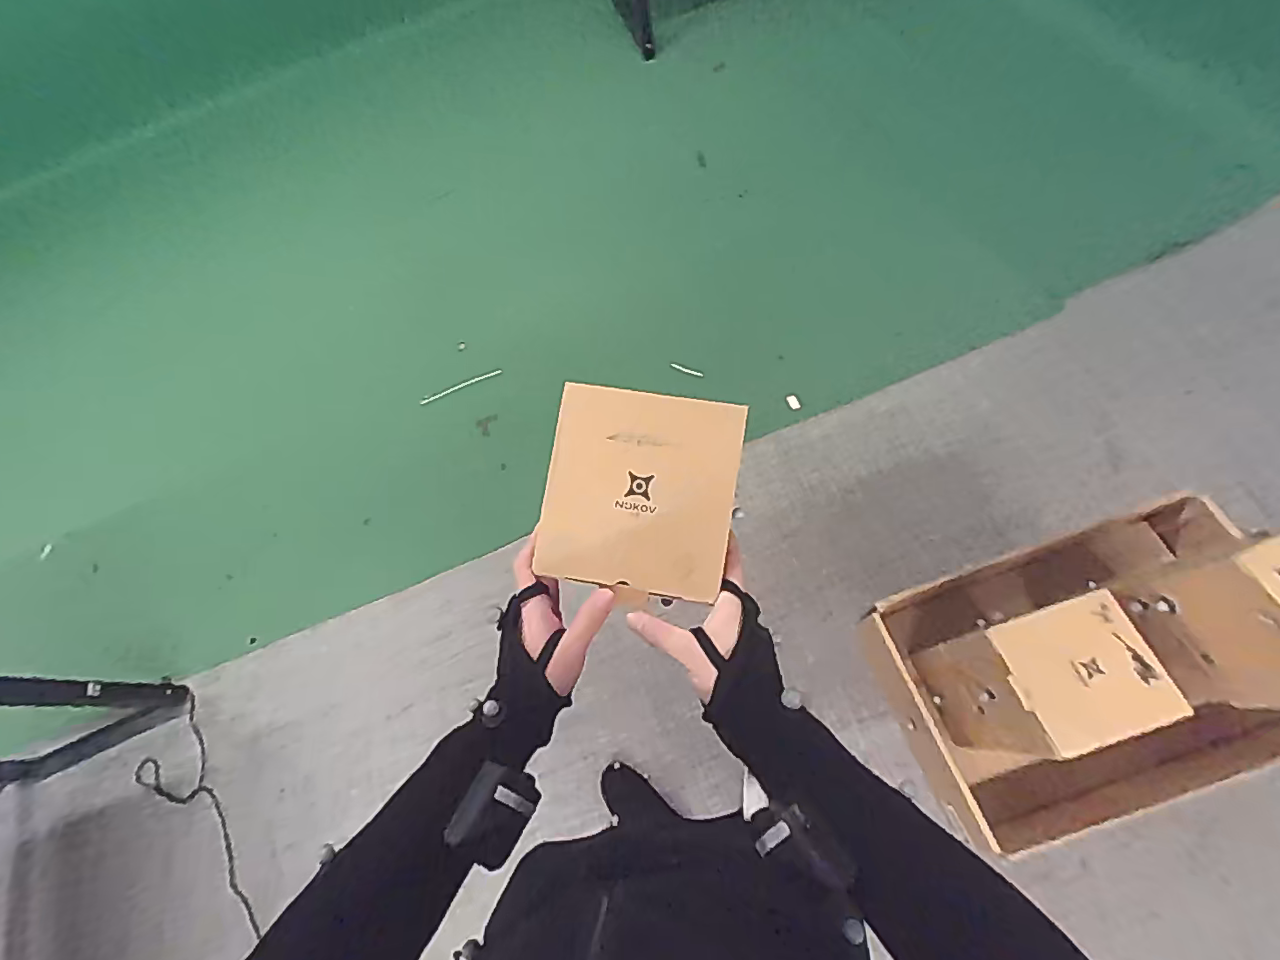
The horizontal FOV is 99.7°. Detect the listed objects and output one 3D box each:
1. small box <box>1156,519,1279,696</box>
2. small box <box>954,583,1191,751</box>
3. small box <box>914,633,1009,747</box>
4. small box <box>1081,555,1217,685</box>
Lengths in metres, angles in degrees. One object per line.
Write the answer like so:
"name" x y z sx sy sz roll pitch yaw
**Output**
"small box" 0.754 0.134 0.612 0.179 0.176 0.168 -24 65 2
"small box" 0.577 0.266 0.761 0.179 0.176 0.168 -20 65 1
"small box" 0.602 0.331 0.908 0.179 0.176 0.168 -19 64 0
"small box" 0.841 0.247 0.909 0.179 0.176 0.168 -23 65 3
